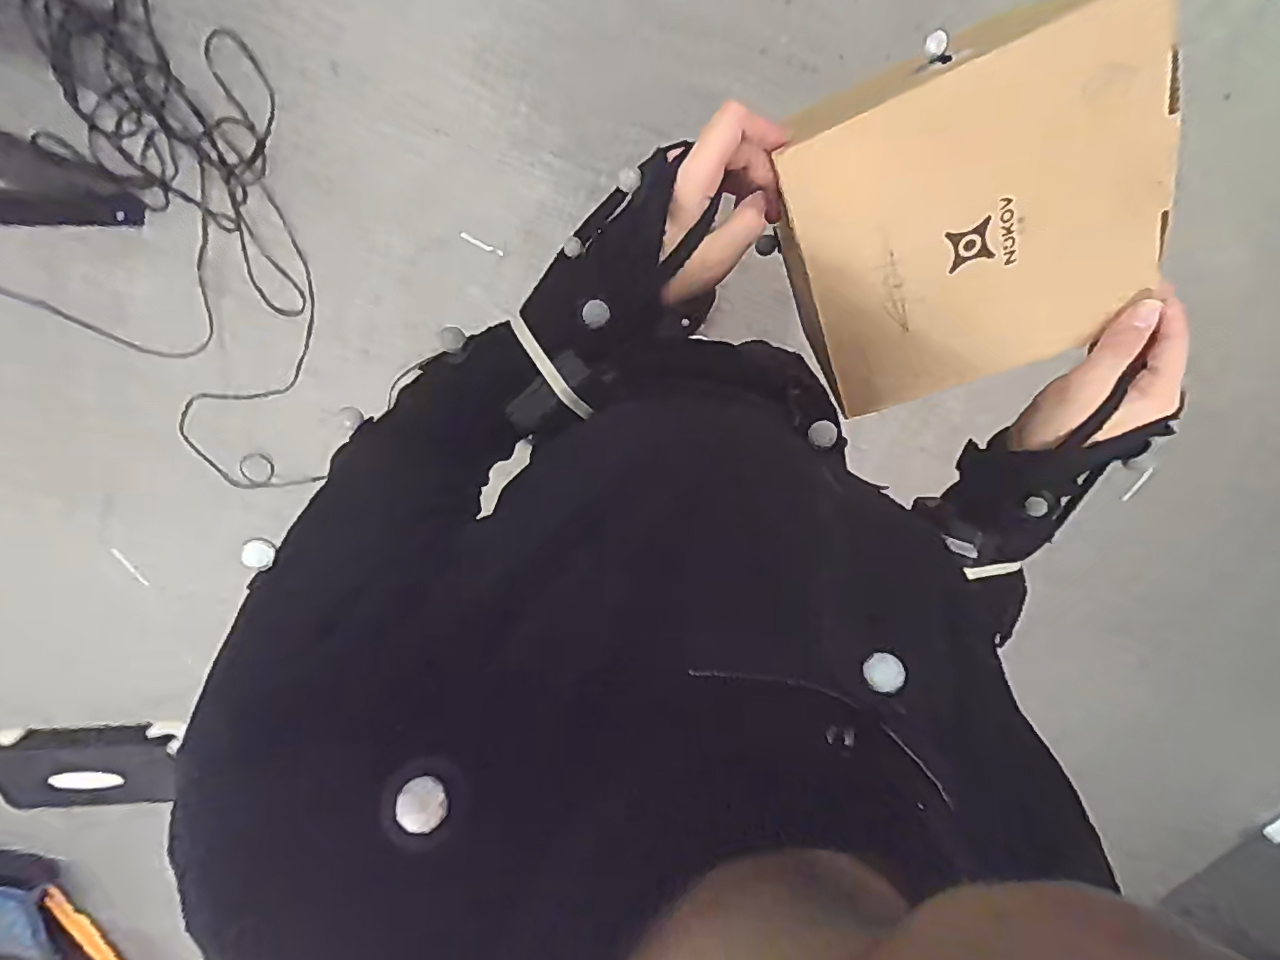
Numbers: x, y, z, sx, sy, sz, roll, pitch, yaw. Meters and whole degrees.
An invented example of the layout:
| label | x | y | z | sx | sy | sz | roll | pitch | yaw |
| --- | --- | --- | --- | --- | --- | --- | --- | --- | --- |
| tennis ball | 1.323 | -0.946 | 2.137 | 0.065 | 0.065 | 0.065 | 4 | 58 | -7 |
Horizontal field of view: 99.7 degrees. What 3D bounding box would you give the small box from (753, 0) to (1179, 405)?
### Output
| label | x | y | z | sx | sy | sz | roll | pitch | yaw |
| --- | --- | --- | --- | --- | --- | --- | --- | --- | --- |
| small box | 0.186 | -0.182 | 0.353 | 0.179 | 0.176 | 0.168 | -19 | 120 | 19 |
